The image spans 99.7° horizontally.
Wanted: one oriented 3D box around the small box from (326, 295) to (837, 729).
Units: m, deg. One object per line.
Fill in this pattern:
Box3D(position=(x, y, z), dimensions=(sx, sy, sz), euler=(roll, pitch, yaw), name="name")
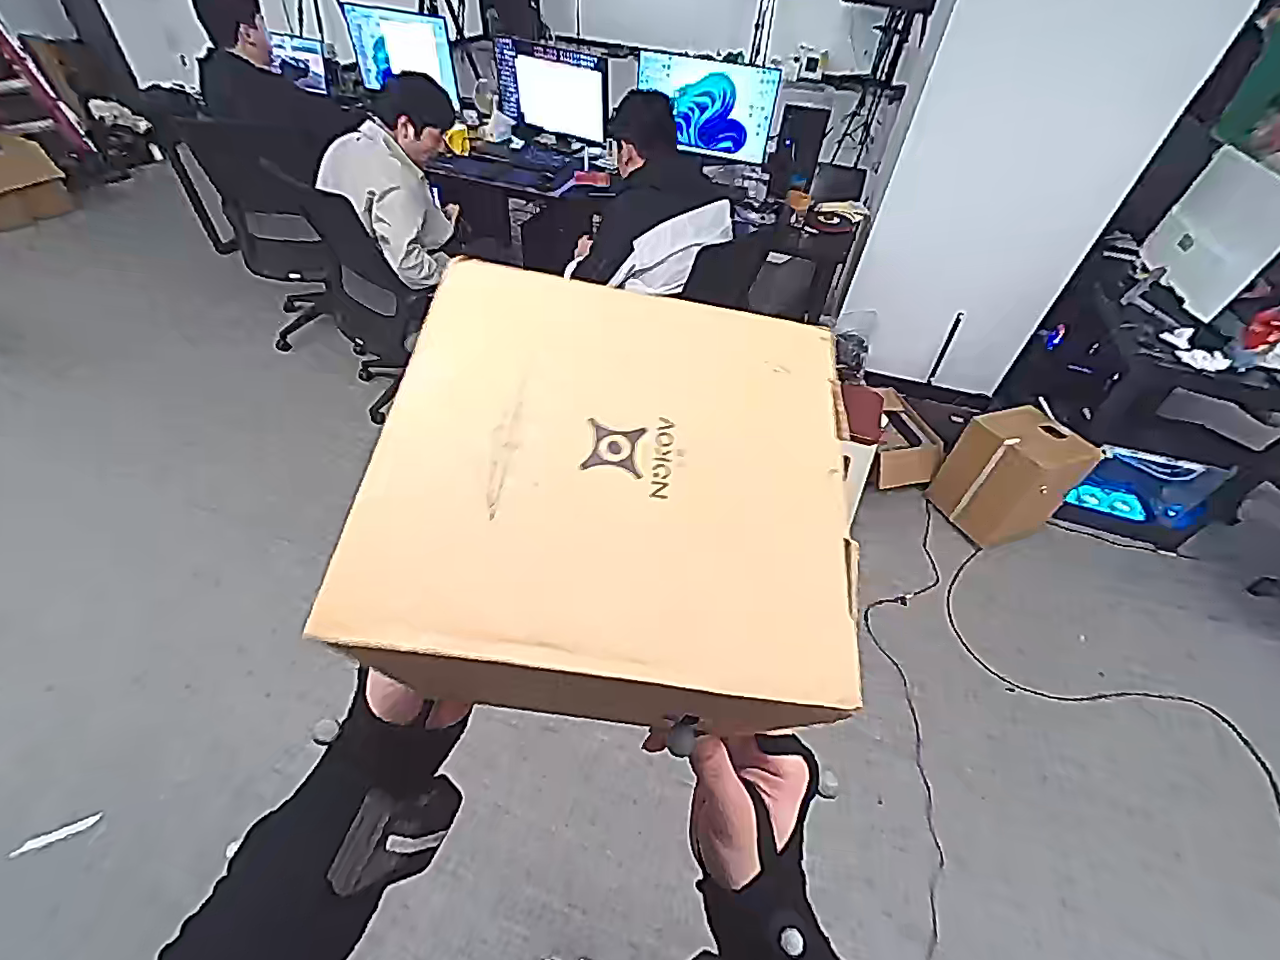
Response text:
Box3D(position=(-0.019, 0.033, 0.288), dimensions=(0.179, 0.176, 0.168), euler=(7, 61, -3), name="small box")
